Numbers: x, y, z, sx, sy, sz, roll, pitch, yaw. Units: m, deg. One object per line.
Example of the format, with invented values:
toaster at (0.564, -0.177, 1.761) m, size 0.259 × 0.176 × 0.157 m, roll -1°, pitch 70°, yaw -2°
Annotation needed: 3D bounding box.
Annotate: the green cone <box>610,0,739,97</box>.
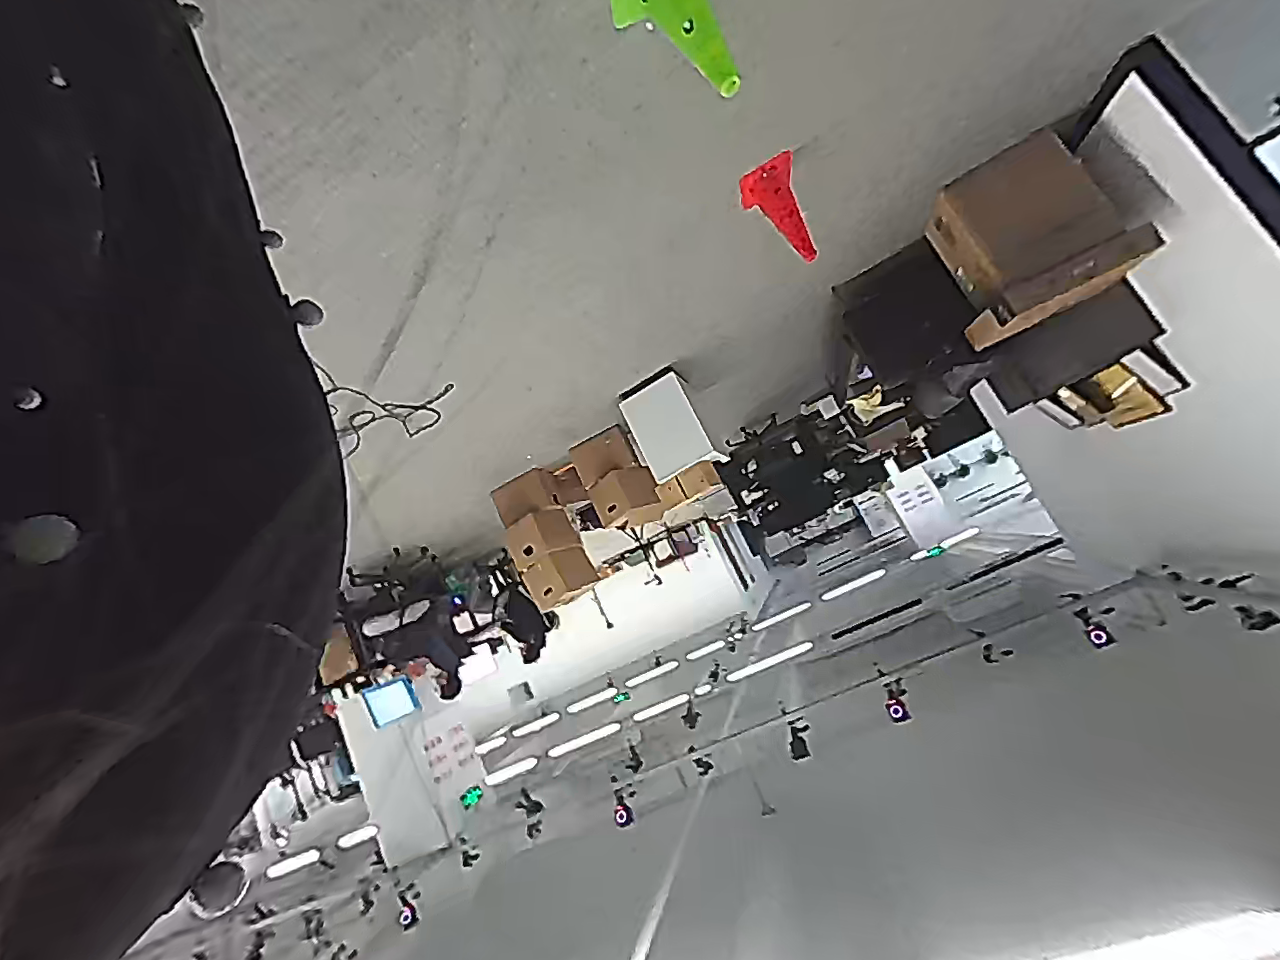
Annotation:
green cone at (0.095, -0.930, 1.092) m, size 0.200 × 0.368 × 0.202 m, roll -26°, pitch 169°, yaw 1°
